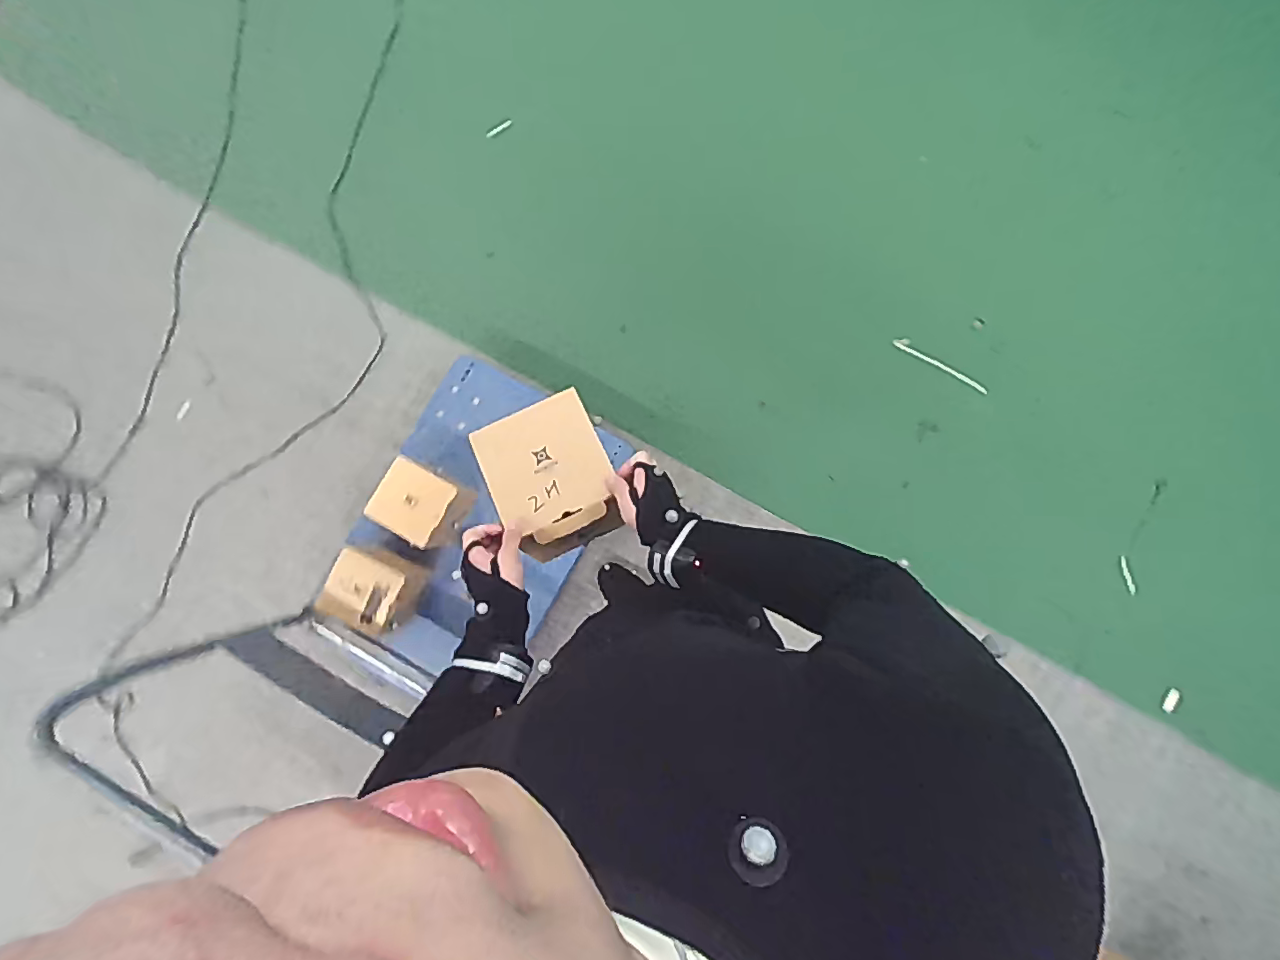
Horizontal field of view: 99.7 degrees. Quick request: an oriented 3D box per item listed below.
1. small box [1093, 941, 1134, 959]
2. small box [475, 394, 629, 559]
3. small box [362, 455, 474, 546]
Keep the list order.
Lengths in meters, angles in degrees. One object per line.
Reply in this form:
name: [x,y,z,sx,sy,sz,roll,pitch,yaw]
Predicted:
small box: [1.314,1.387,1.422,0.168,0.176,0.179,34,86,4]
small box: [-0.124,0.003,0.806,0.168,0.176,0.179,-19,72,0]
small box: [-0.561,0.059,1.389,0.179,0.176,0.168,29,85,2]
